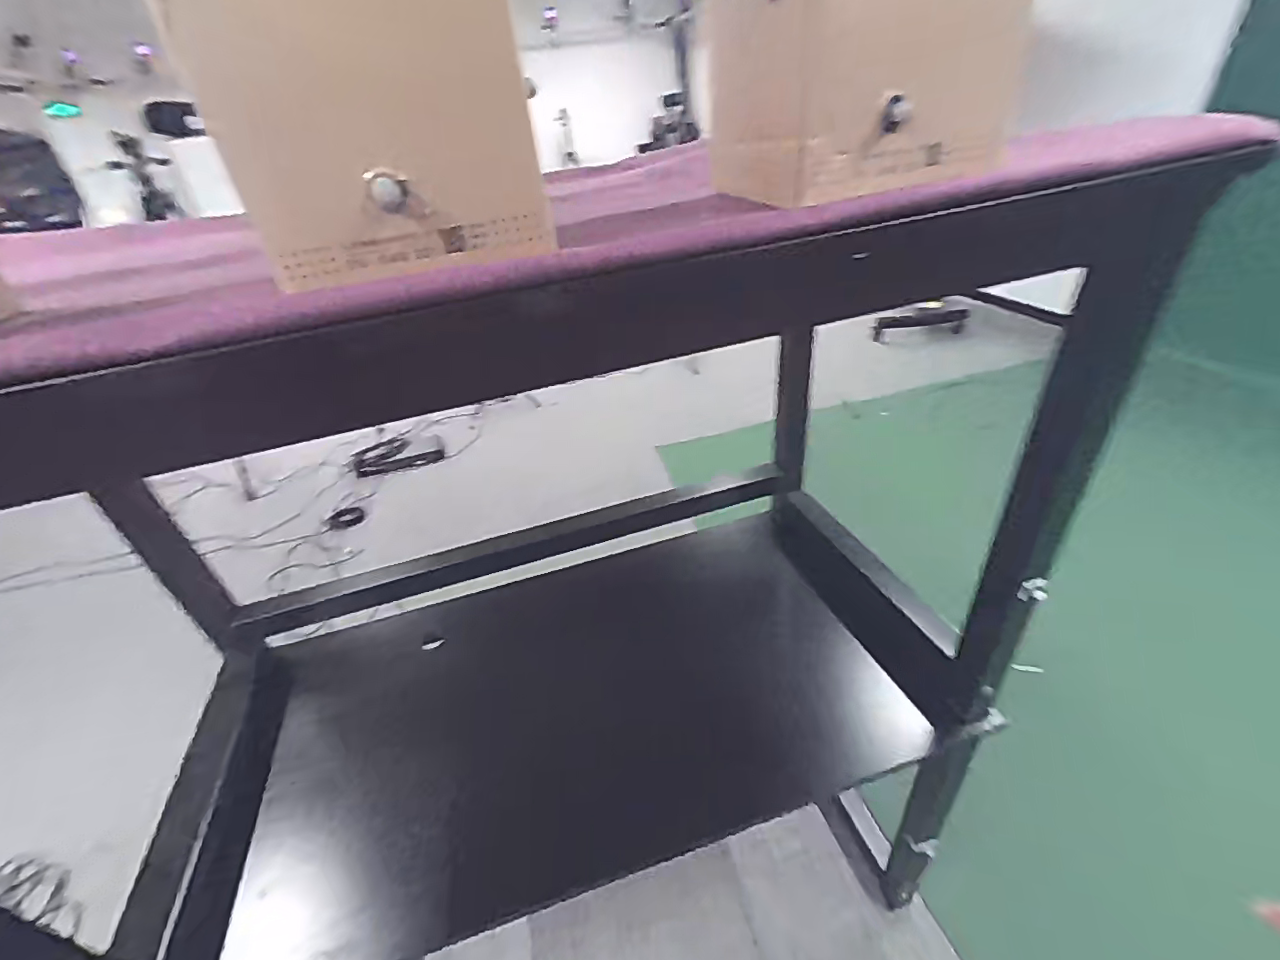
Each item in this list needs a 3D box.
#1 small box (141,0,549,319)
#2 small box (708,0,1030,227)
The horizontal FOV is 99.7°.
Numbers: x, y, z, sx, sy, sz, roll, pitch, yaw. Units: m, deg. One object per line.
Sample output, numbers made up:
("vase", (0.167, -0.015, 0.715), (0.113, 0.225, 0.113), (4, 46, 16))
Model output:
("small box", (-0.165, -0.222, 0.361), (0.168, 0.176, 0.179), (-14, 36, -9))
("small box", (0.156, -0.308, 0.425), (0.168, 0.176, 0.179), (-14, 37, -8))
